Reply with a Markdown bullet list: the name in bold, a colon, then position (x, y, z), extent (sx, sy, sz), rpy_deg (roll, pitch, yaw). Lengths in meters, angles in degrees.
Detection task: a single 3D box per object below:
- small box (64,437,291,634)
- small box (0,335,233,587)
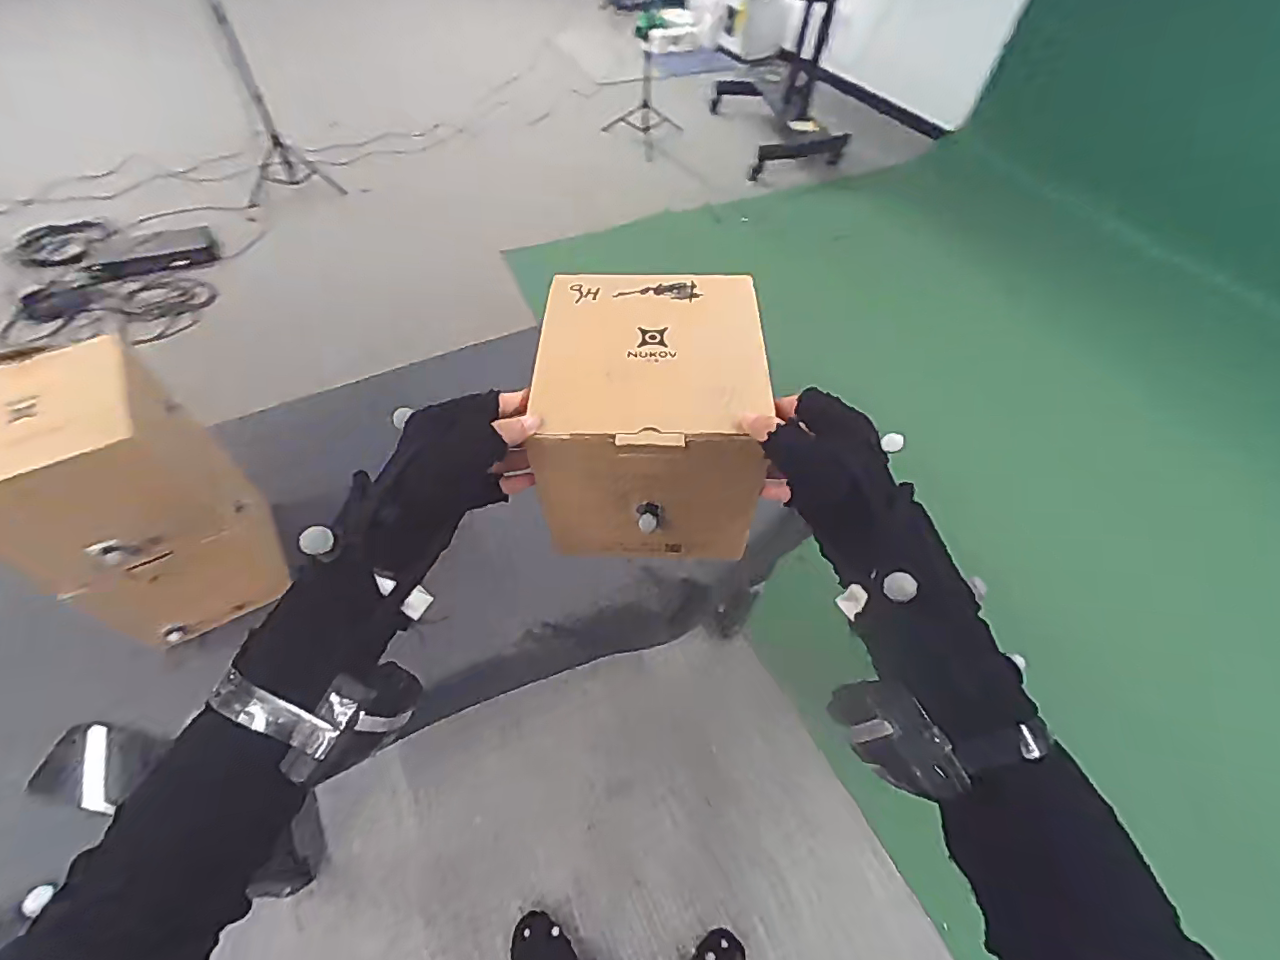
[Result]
- **small box**: position (-0.594, 0.079, 0.710), extent (0.168, 0.176, 0.179), rpy_deg (-26, 58, -21)
- **small box**: position (-0.583, -0.018, 0.581), extent (0.168, 0.176, 0.179), rpy_deg (-27, 61, -21)
